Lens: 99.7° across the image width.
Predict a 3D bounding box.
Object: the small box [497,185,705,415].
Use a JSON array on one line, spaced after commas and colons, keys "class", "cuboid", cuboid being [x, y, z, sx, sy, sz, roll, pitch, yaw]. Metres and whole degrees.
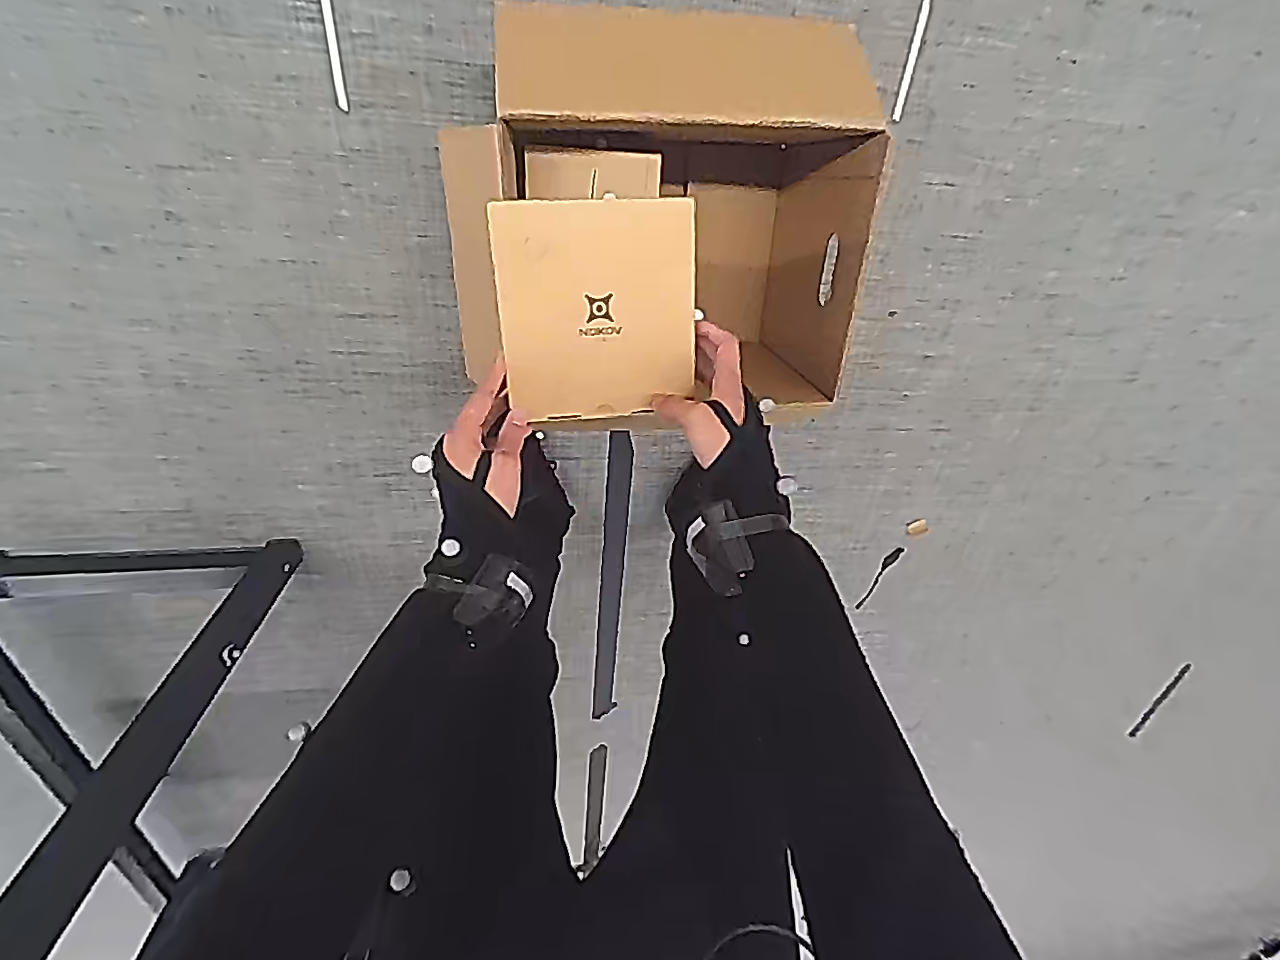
[{"class": "small box", "cuboid": [-0.041, -0.170, 0.518, 0.168, 0.176, 0.179, -6, 112, -8]}]
